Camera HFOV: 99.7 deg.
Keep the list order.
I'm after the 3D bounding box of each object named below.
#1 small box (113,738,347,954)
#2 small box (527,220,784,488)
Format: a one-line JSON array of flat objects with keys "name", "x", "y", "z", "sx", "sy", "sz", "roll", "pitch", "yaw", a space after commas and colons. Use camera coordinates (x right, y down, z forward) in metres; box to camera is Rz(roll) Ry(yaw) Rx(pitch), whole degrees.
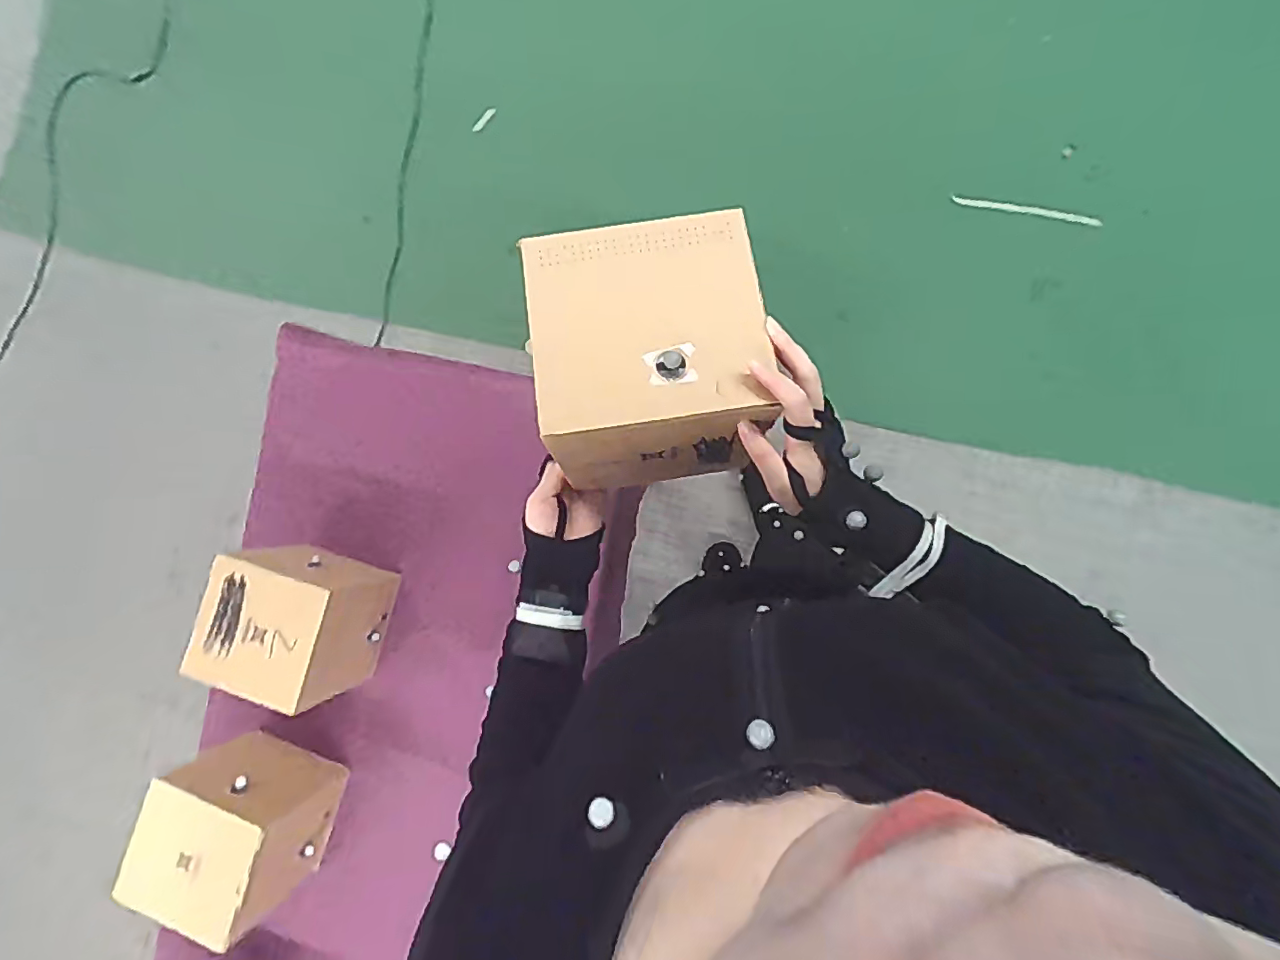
[{"name": "small box", "x": -0.567, "y": 0.497, "z": 0.769, "sx": 0.179, "sy": 0.176, "sz": 0.168, "roll": 18, "pitch": 89, "yaw": 8}, {"name": "small box", "x": 0.008, "y": -0.101, "z": 0.475, "sx": 0.179, "sy": 0.168, "sz": 0.176, "roll": -7, "pitch": 75, "yaw": 0}]
